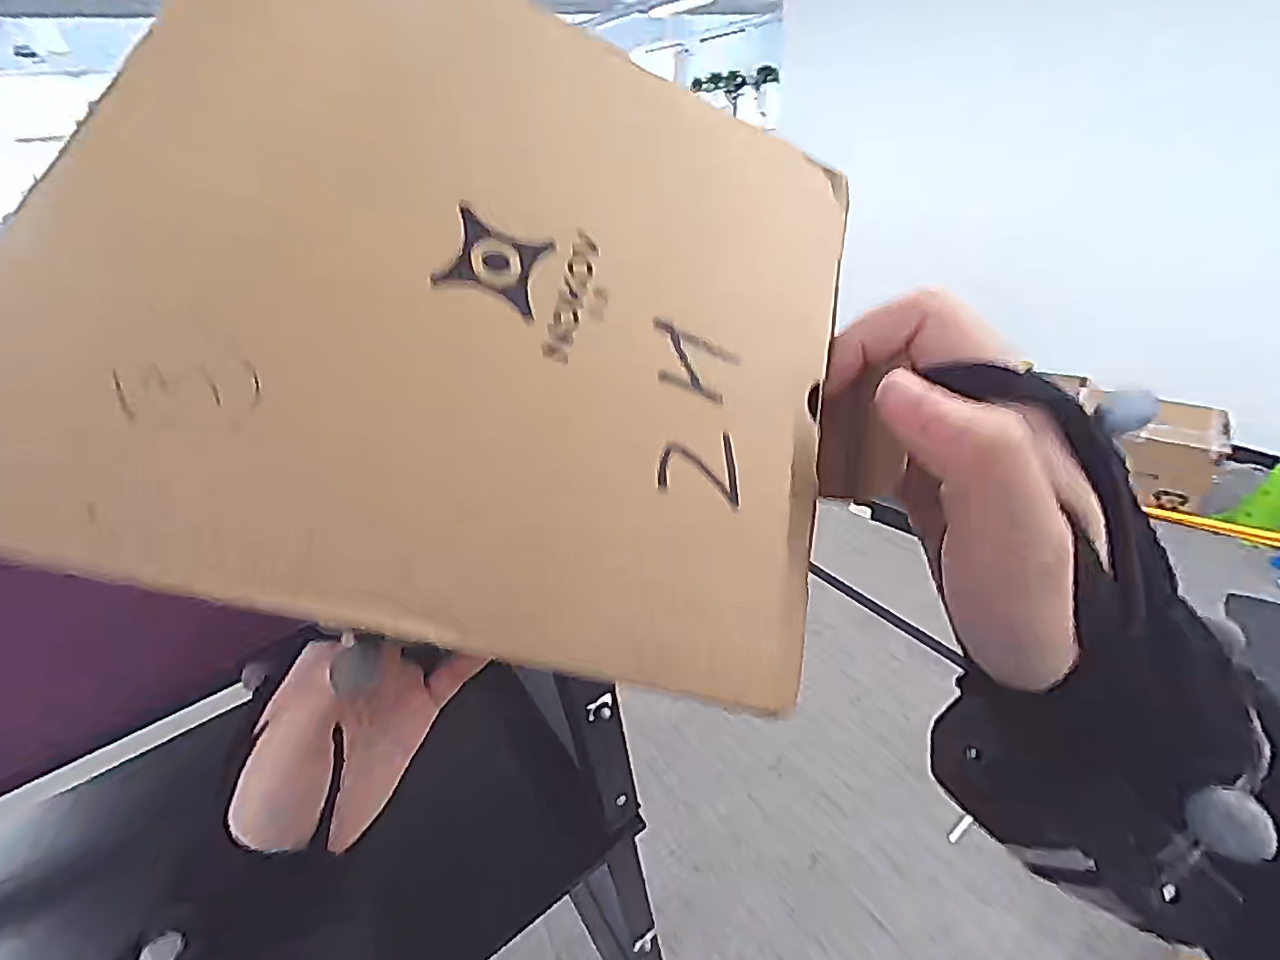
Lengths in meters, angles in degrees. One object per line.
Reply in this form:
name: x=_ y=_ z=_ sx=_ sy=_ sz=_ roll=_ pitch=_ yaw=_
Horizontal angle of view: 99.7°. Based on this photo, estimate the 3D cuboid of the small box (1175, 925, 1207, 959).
small box: x=1.119 y=0.961 z=0.996 sx=0.179 sy=0.176 sz=0.168 roll=-24 pitch=38 yaw=-26

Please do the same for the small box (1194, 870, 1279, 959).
small box: x=1.105 y=0.822 z=0.909 sx=0.168 sy=0.176 sz=0.179 roll=-27 pitch=40 yaw=-29

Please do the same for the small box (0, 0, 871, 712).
small box: x=-0.048 y=-0.027 z=0.198 sx=0.179 sy=0.176 sz=0.168 roll=19 pitch=69 yaw=-17
